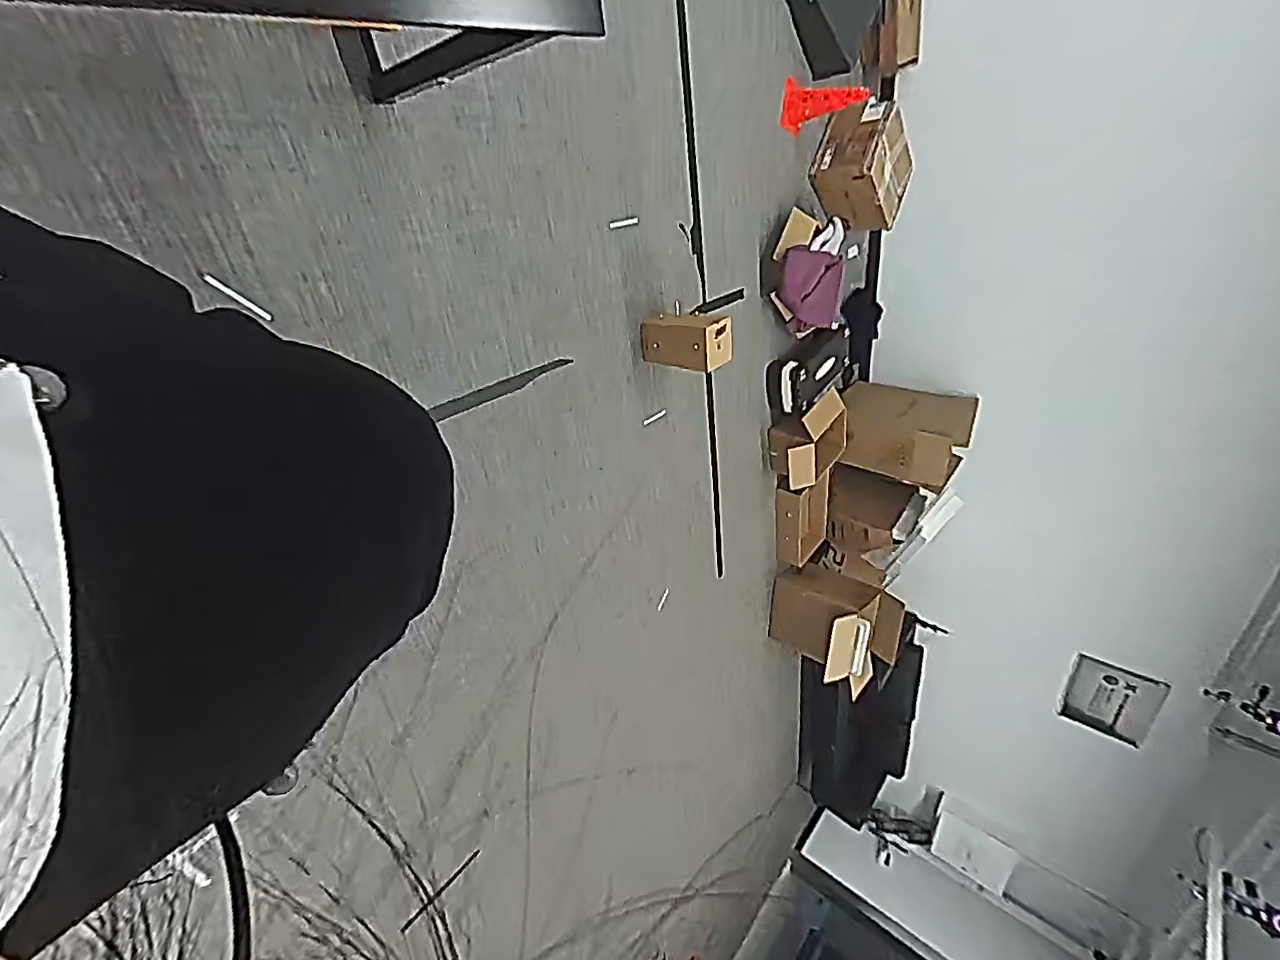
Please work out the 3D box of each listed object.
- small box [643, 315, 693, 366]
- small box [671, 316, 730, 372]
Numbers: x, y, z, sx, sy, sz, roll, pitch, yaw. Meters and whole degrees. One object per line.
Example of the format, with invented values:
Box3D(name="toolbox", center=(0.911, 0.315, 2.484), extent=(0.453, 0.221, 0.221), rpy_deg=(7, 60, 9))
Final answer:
Box3D(name="small box", center=(0.125, -0.578, 2.231), extent=(0.179, 0.176, 0.168), rpy_deg=(-32, 127, -38))
Box3D(name="small box", center=(0.236, -0.538, 2.113), extent=(0.168, 0.176, 0.179), rpy_deg=(-34, 130, -37))
